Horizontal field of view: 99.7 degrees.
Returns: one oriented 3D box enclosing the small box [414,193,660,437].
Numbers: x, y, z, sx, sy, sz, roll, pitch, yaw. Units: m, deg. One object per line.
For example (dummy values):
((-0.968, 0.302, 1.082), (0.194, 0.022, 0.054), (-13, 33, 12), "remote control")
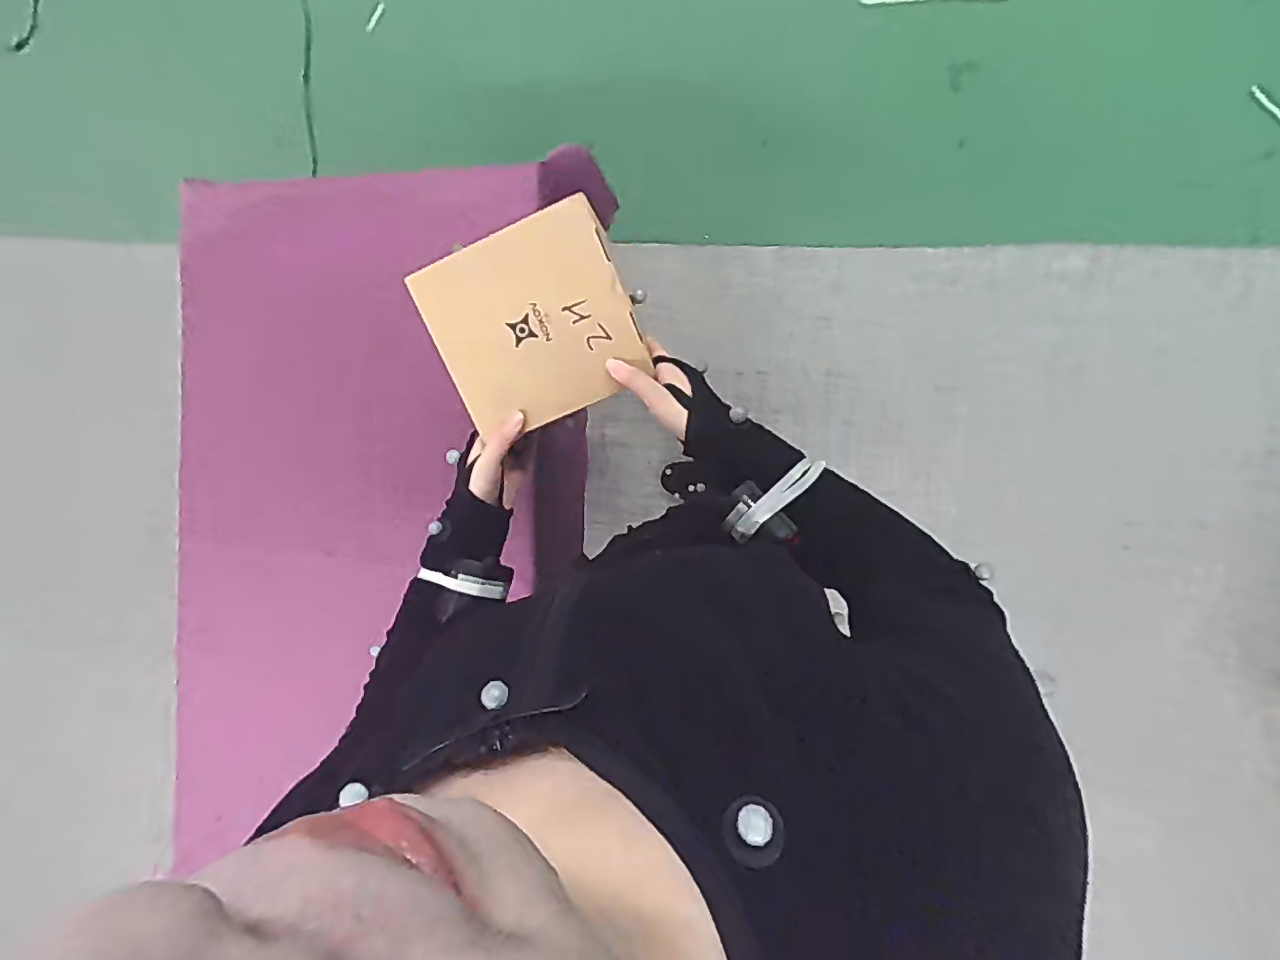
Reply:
((-0.088, -0.158, 0.557), (0.179, 0.176, 0.168), (-20, 102, 8), "small box")
